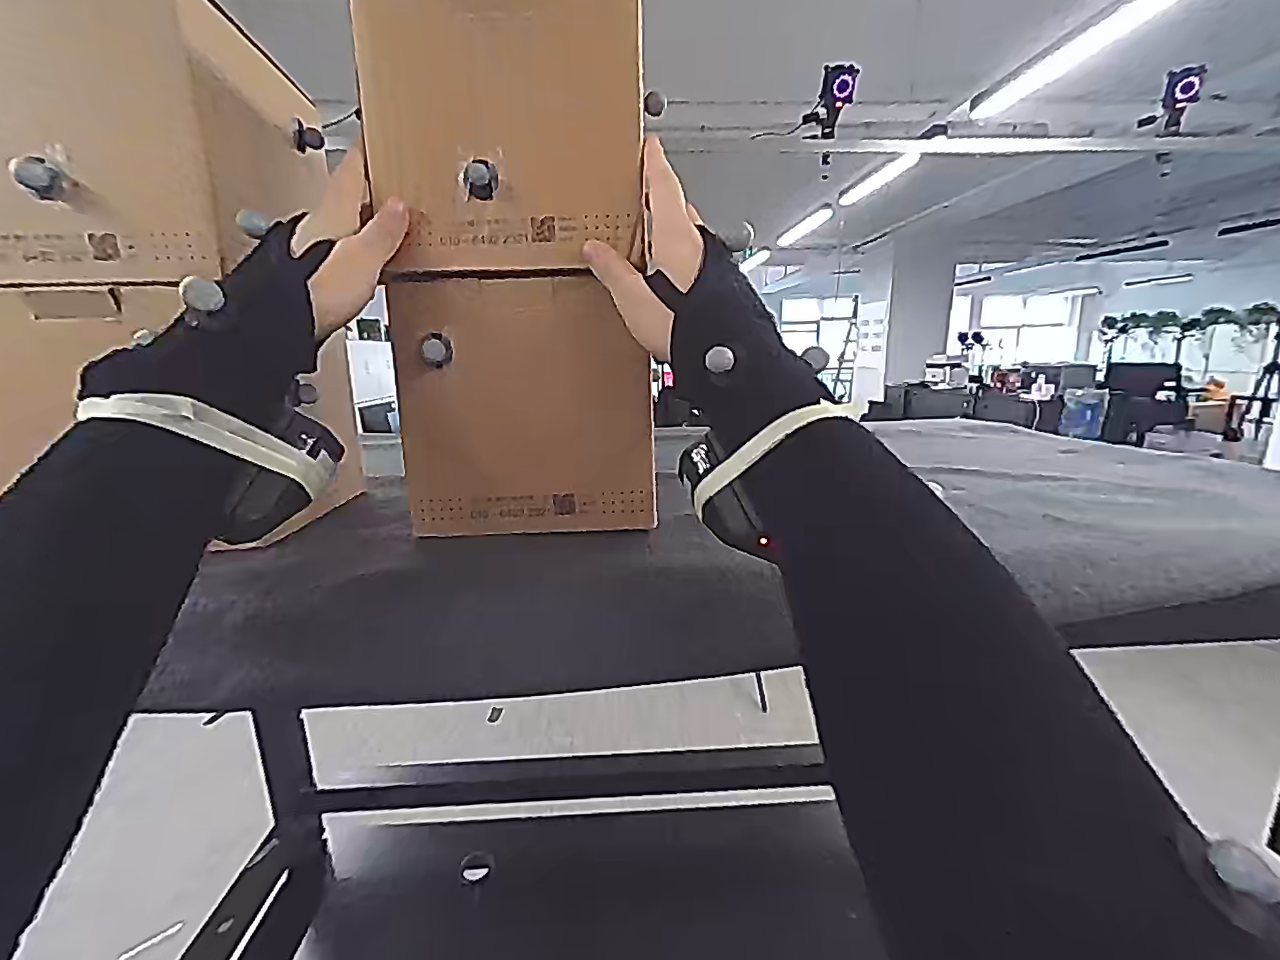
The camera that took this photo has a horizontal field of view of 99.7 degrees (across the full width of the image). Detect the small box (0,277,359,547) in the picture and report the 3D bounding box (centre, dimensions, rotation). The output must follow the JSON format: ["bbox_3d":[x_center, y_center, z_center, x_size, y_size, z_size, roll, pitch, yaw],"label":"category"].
[{"bbox_3d":[-0.332,-0.051,0.407,0.168,0.176,0.179,-2,12,-7],"label":"small box"}]

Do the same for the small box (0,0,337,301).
[{"bbox_3d":[-0.334,-0.214,0.376,0.168,0.176,0.179,-4,12,-6],"label":"small box"}]

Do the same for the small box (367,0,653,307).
[{"bbox_3d":[-0.075,-0.224,0.395,0.168,0.176,0.179,-1,11,0],"label":"small box"}]
